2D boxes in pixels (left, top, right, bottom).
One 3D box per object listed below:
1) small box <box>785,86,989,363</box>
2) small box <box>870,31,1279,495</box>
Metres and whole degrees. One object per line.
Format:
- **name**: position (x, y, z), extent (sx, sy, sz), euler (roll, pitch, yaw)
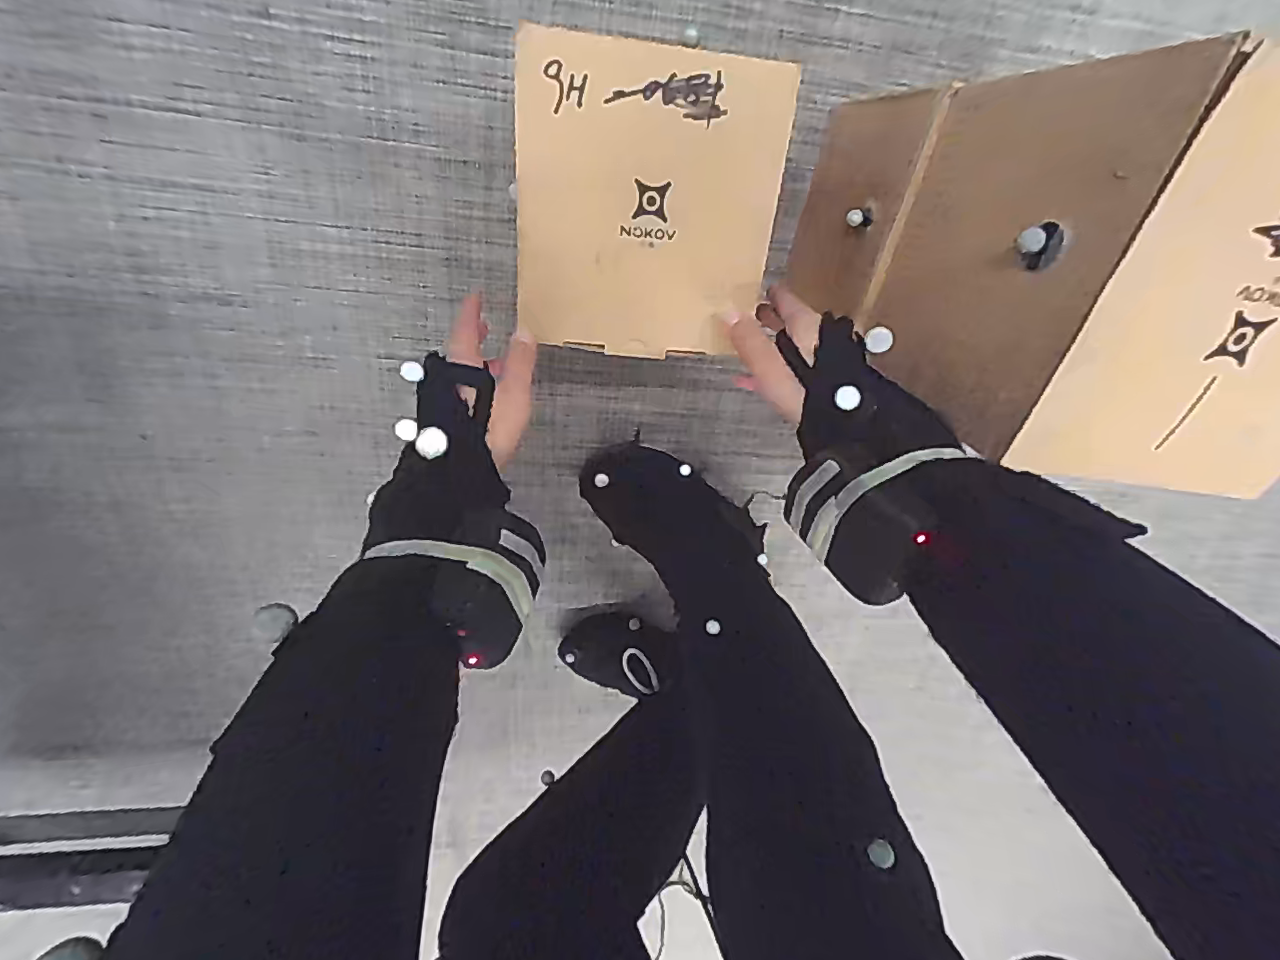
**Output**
- **small box**: position (0.242, -0.198, 0.453), extent (0.168, 0.176, 0.179), euler (7, 120, -10)
- **small box**: position (0.266, -0.114, 0.313), extent (0.168, 0.176, 0.179), euler (7, 119, -9)
